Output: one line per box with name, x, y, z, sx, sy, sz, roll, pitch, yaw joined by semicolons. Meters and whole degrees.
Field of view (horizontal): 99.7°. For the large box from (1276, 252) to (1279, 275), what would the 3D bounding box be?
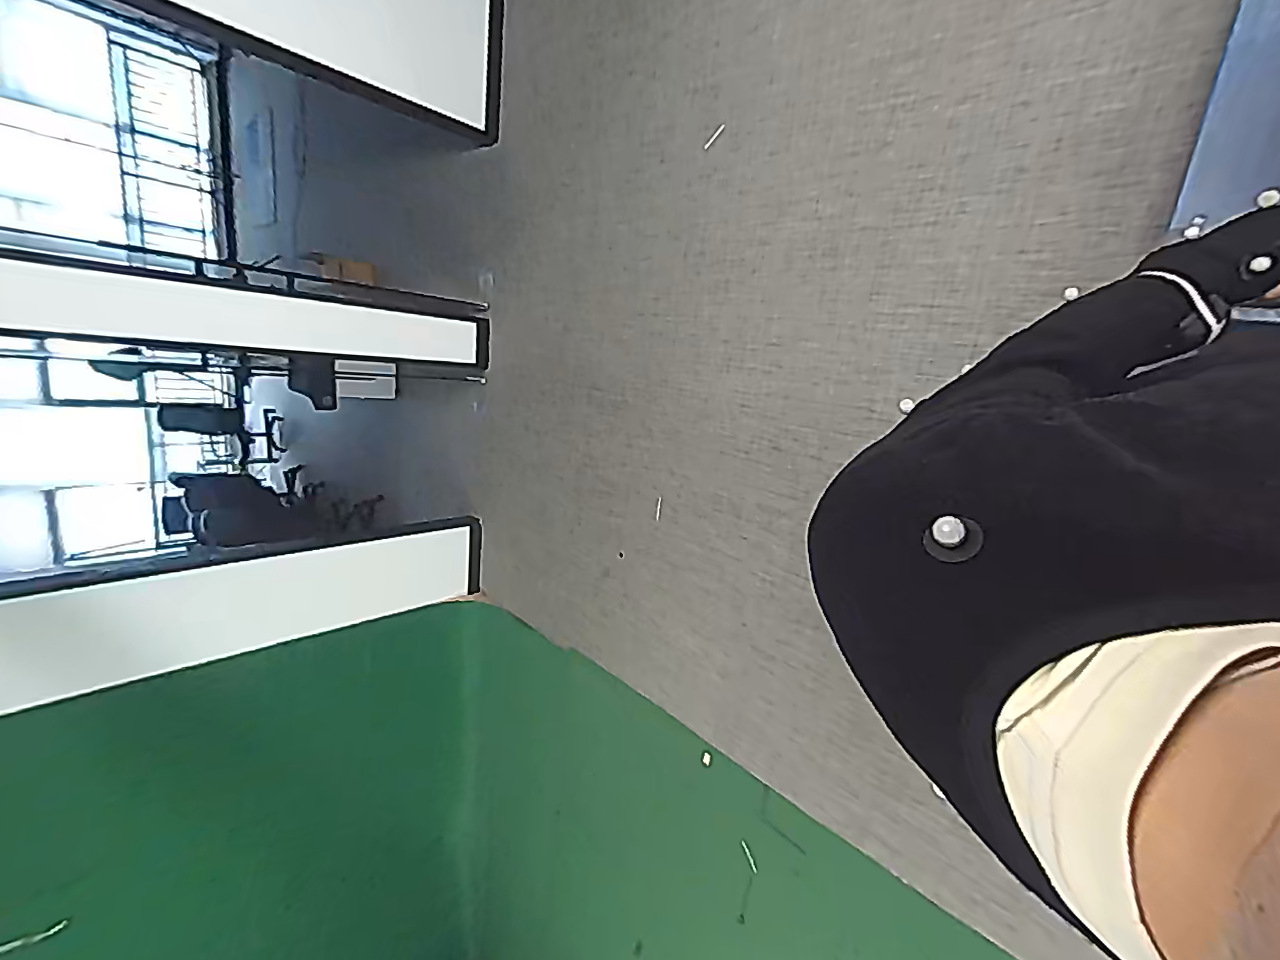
large box;1.150;-0.514;0.716;0.320;0.320;0.408;19;106;41
